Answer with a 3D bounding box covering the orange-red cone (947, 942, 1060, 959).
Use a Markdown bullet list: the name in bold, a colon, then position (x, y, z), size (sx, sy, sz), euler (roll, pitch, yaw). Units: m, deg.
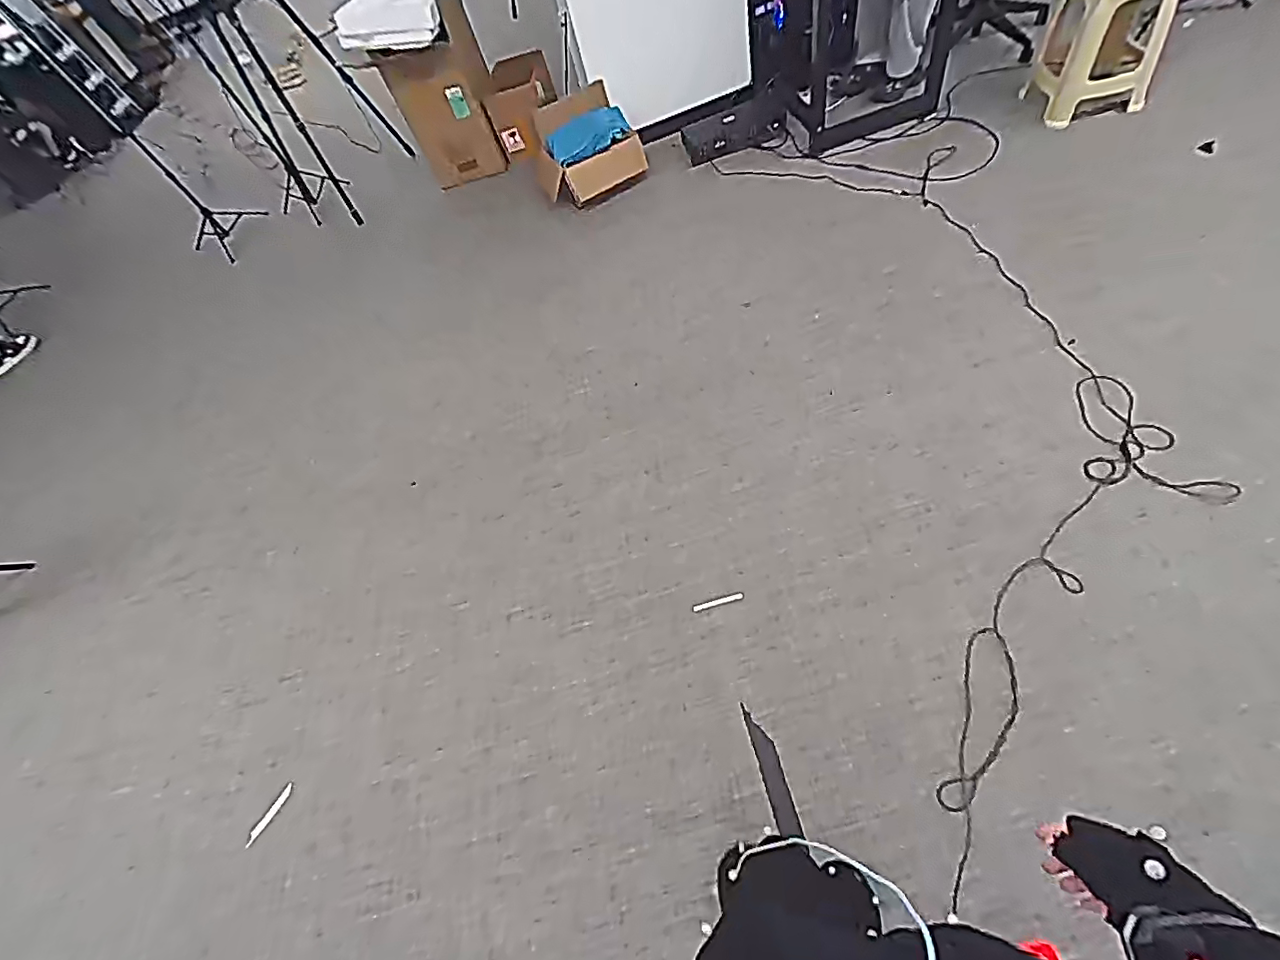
- **orange-red cone**: position (0.623, 0.845, 0.791), size (0.199, 0.360, 0.198), euler (-13, 57, 6)
